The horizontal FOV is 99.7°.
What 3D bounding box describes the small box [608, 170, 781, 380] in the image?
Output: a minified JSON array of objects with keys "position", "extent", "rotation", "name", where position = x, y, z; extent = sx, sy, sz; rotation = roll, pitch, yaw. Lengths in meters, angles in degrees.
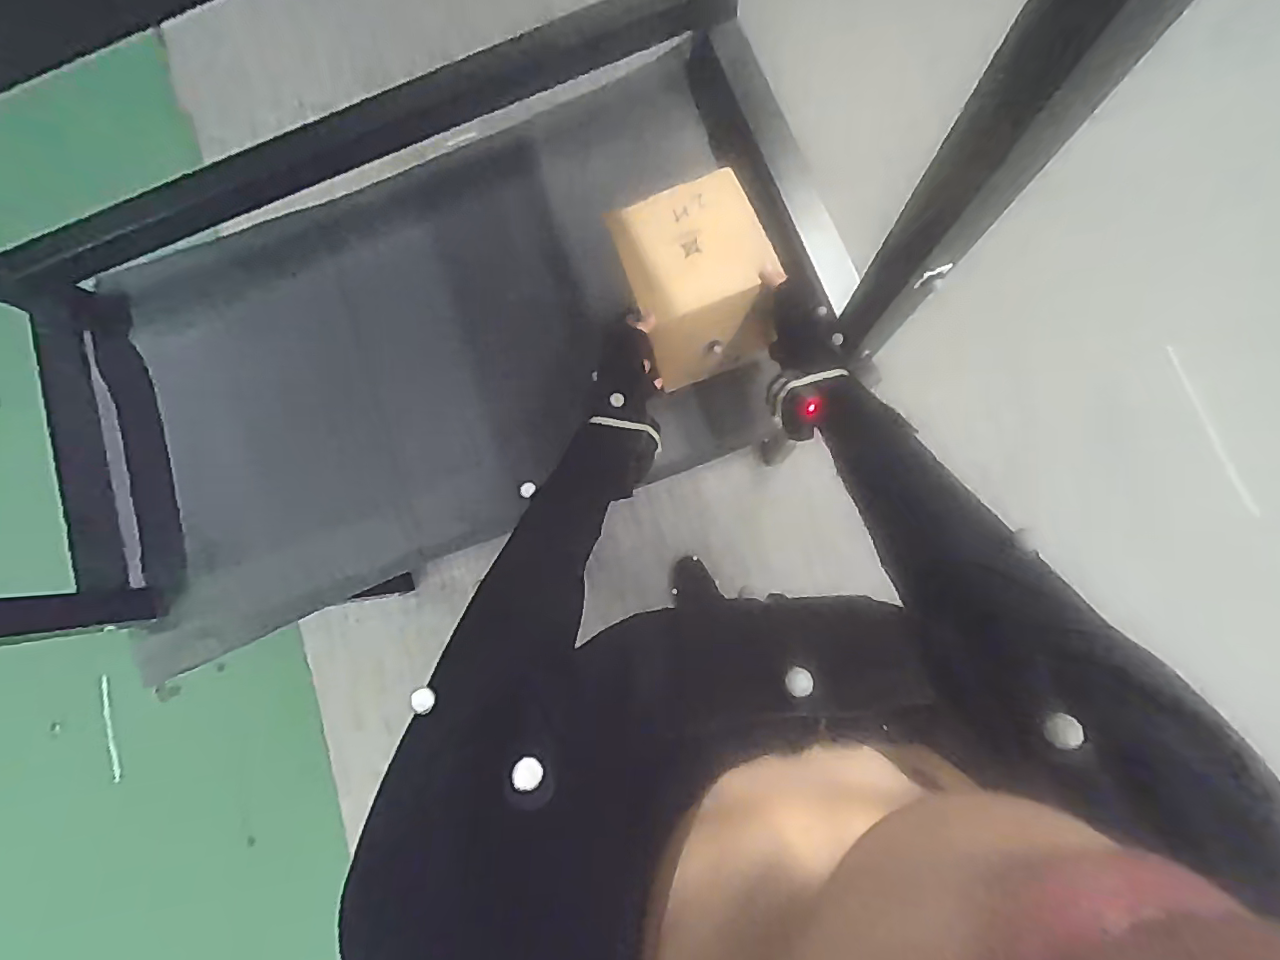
[{"position":[0.074,-0.252,0.710],"extent":[0.168,0.176,0.179],"rotation":[-19,70,4],"name":"small box"}]
